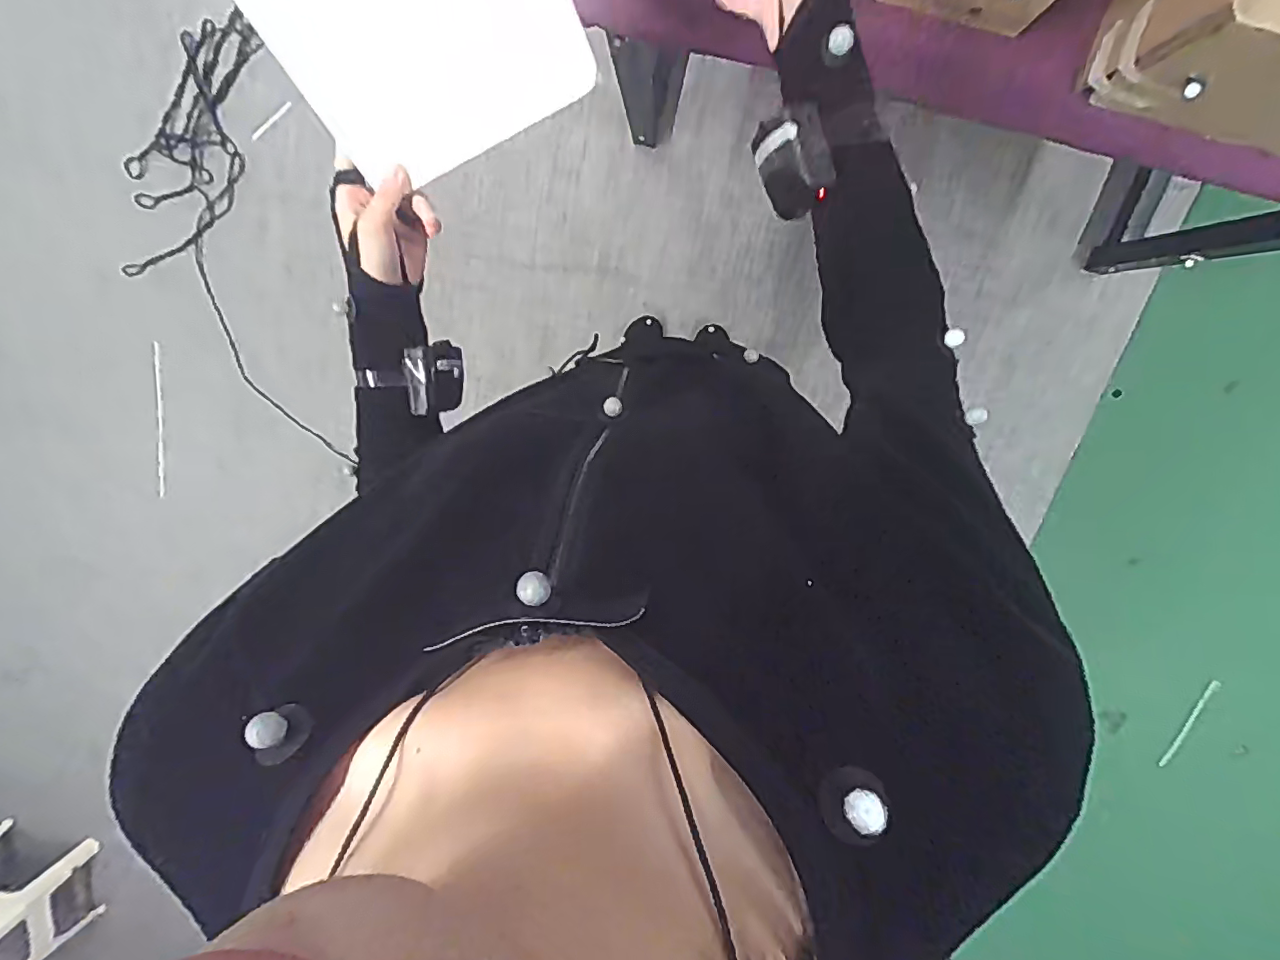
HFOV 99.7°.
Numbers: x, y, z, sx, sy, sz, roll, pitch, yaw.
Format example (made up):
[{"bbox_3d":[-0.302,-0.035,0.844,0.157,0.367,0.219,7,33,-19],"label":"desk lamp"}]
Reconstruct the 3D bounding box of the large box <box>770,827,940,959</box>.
[{"bbox_3d":[0.629,1.322,1.658,0.408,0.320,0.320,0,105,3],"label":"large box"}]
